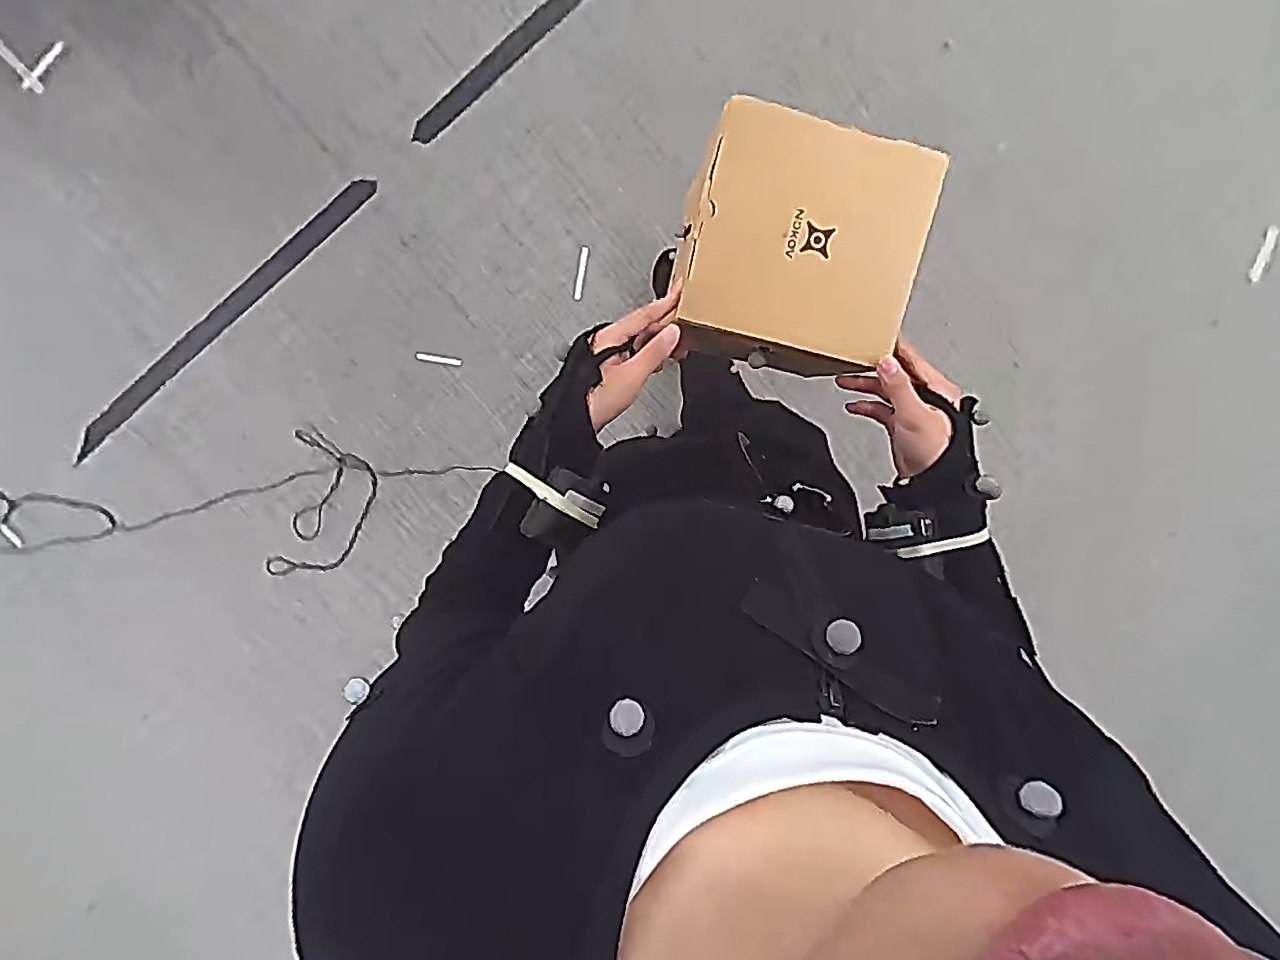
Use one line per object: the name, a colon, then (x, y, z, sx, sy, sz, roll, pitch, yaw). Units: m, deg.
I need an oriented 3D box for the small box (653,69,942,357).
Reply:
small box: (0.117, -0.209, 0.480, 0.179, 0.176, 0.168, 12, 99, -4)

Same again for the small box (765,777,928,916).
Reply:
small box: (0.341, 0.662, 0.933, 0.179, 0.176, 0.168, -43, 98, 11)
